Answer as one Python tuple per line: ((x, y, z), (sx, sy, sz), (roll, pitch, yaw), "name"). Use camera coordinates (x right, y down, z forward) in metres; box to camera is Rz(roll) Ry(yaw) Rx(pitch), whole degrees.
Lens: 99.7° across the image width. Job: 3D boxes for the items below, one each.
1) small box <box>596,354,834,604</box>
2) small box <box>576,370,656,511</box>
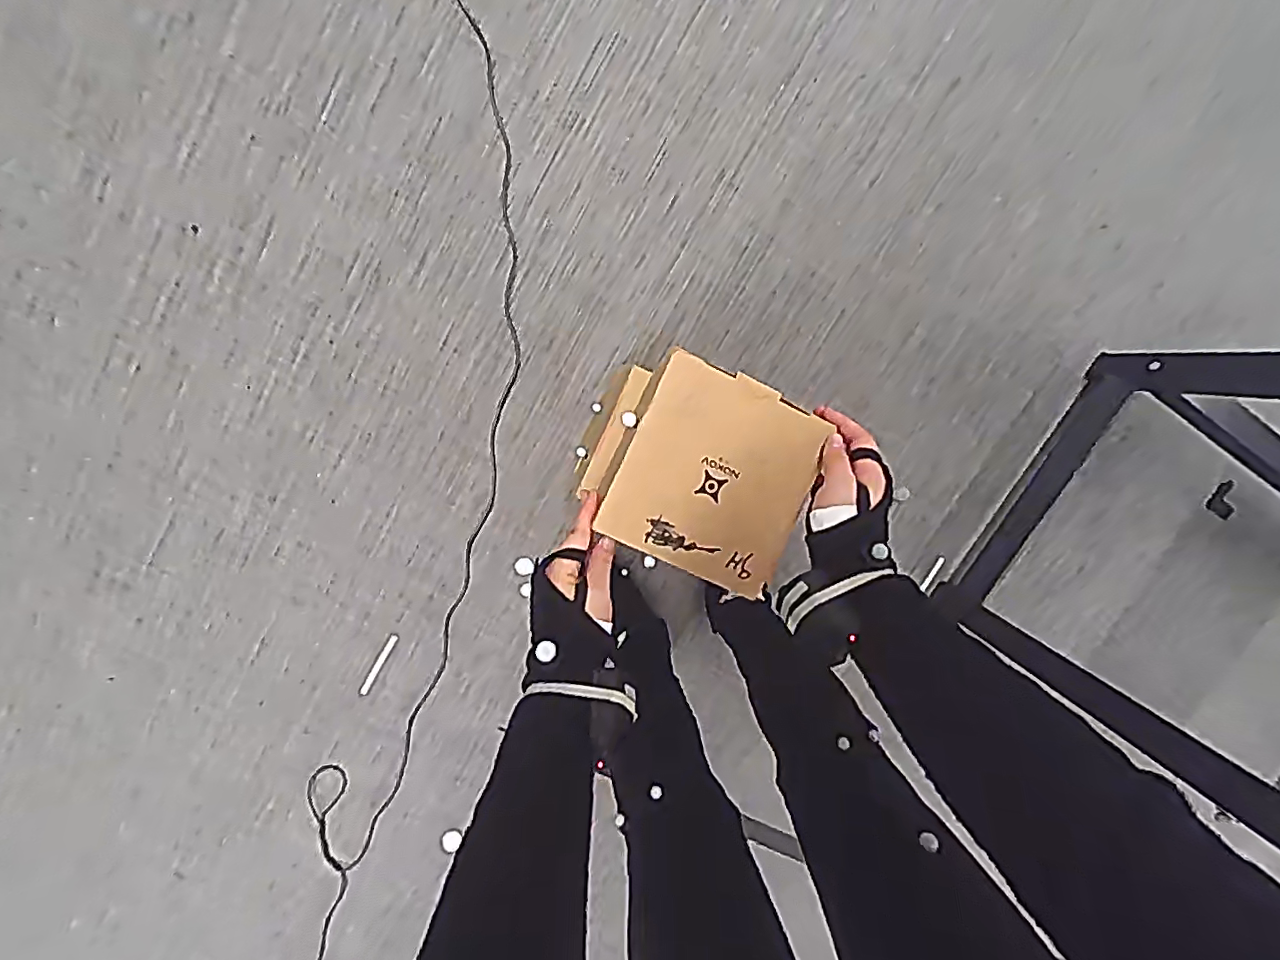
((0.060, -0.004, 0.559), (0.168, 0.176, 0.179), (25, 92, -6), "small box")
((0.021, -0.036, 0.737), (0.168, 0.176, 0.179), (22, 97, -11), "small box")
